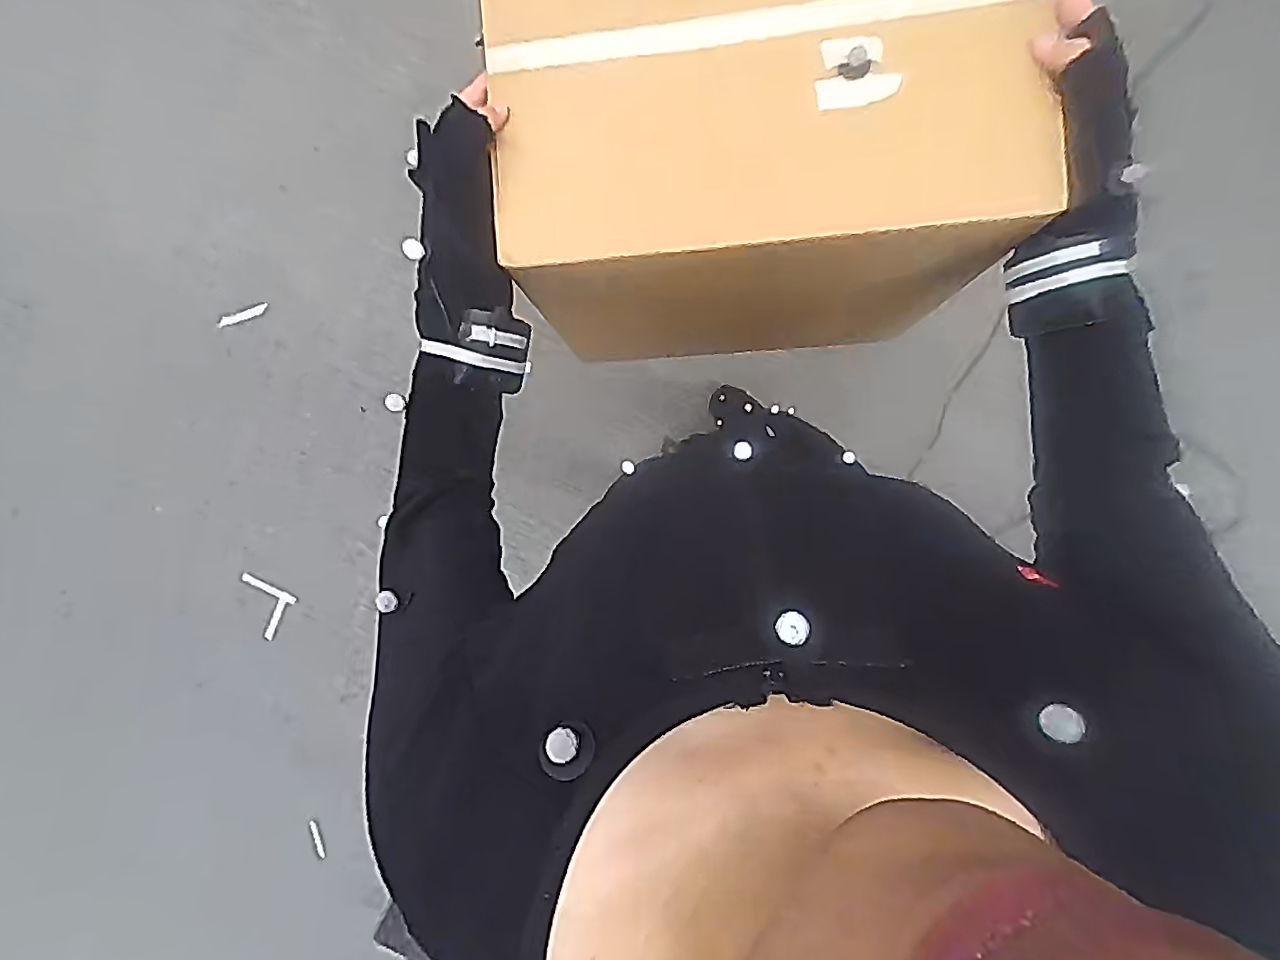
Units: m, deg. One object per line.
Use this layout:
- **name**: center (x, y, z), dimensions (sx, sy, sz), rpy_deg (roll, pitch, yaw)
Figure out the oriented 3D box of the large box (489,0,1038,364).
- **large box**: center (0.093, -0.328, 0.564), dimensions (0.408, 0.320, 0.320), rpy_deg (-5, 88, 5)
